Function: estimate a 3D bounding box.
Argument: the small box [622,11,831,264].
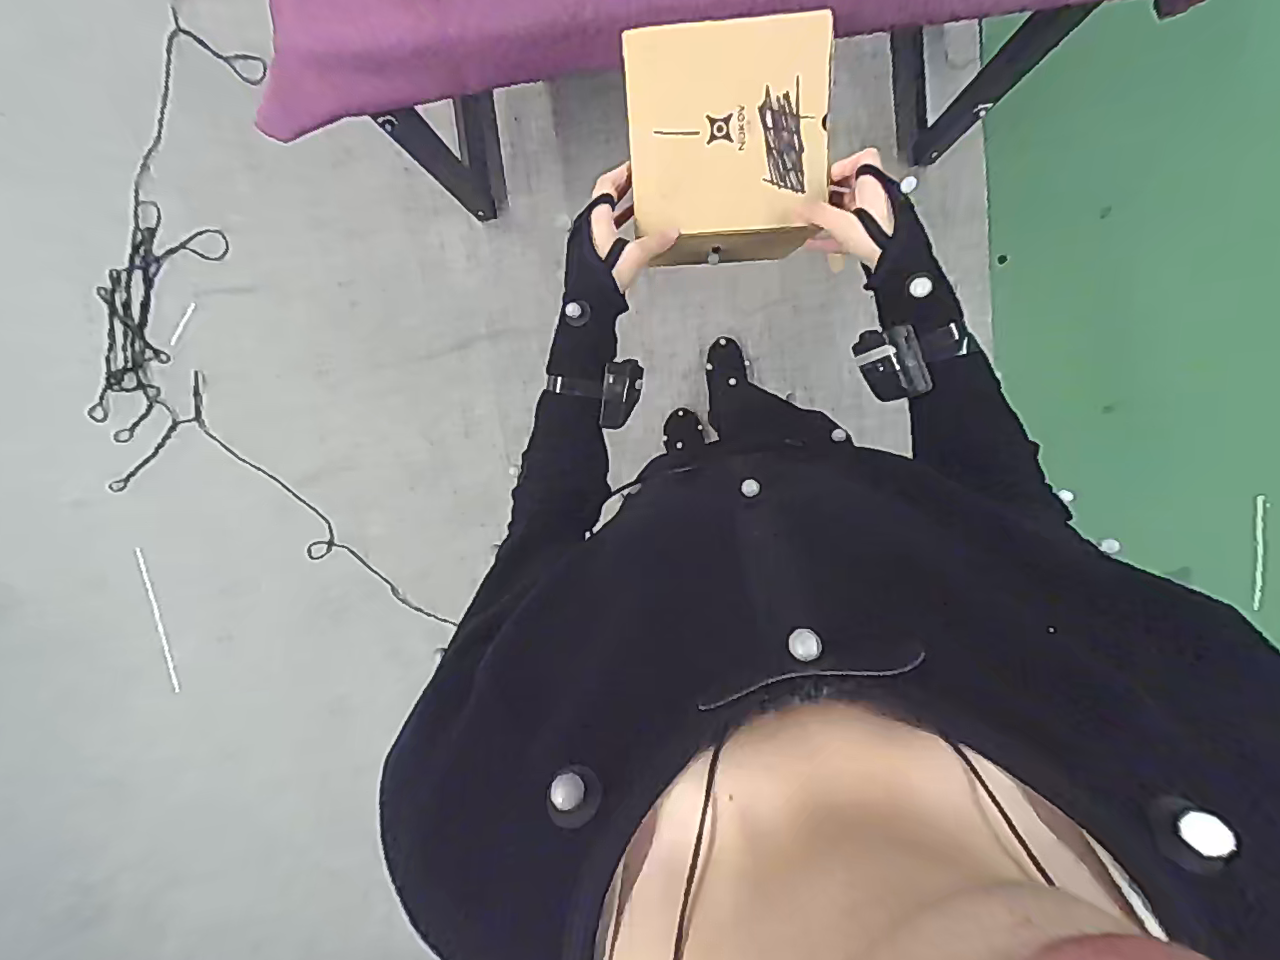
[{"bbox_3d":[0.076,-0.320,0.541,0.179,0.176,0.168,-2,101,3],"label":"small box"}]
